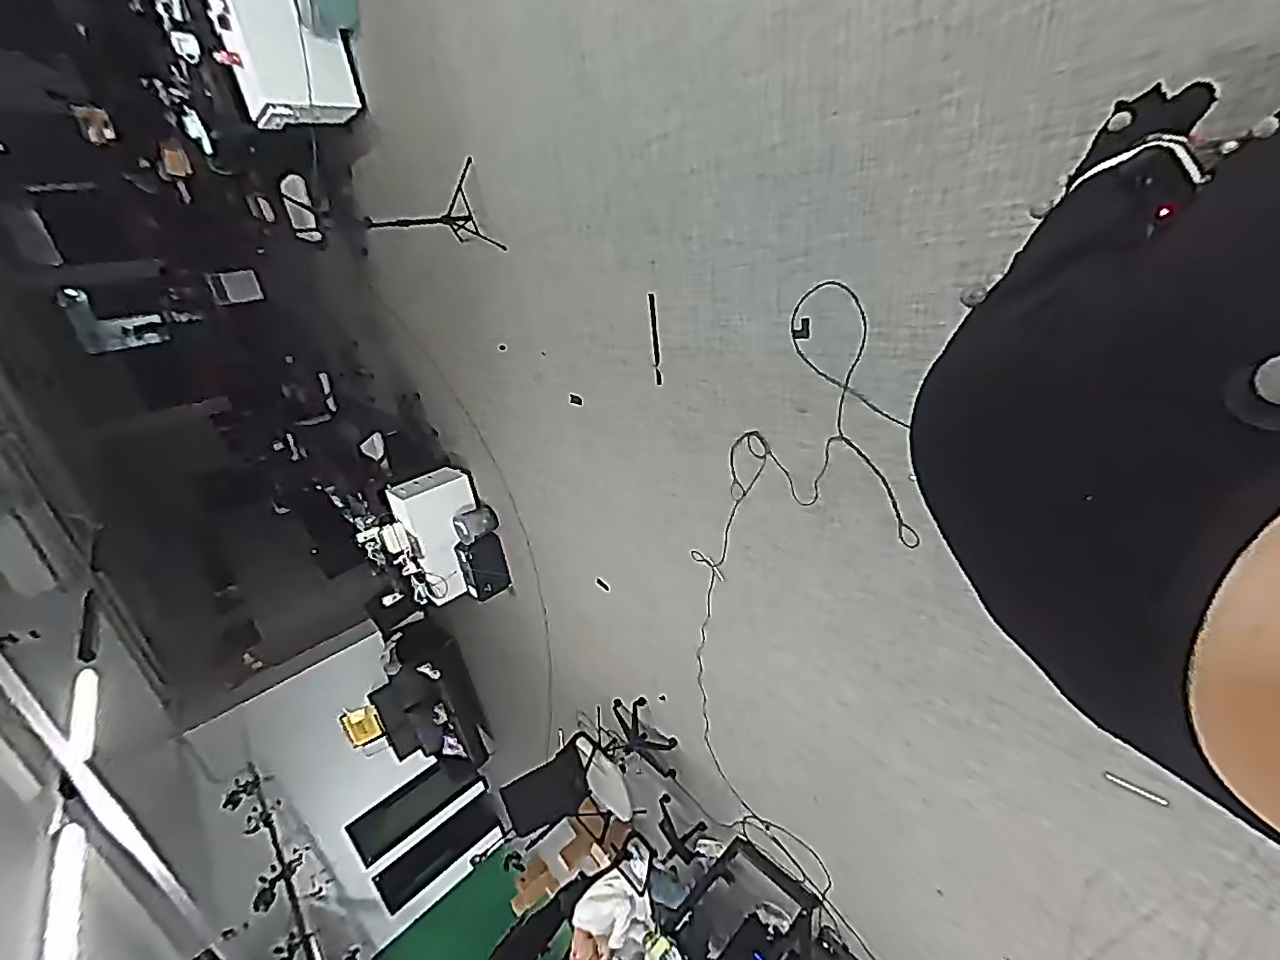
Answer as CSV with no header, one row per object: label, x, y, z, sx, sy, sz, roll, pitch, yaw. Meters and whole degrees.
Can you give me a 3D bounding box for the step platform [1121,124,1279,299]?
step platform,1.245,-0.466,0.885,0.684,0.204,0.286,15,123,45
